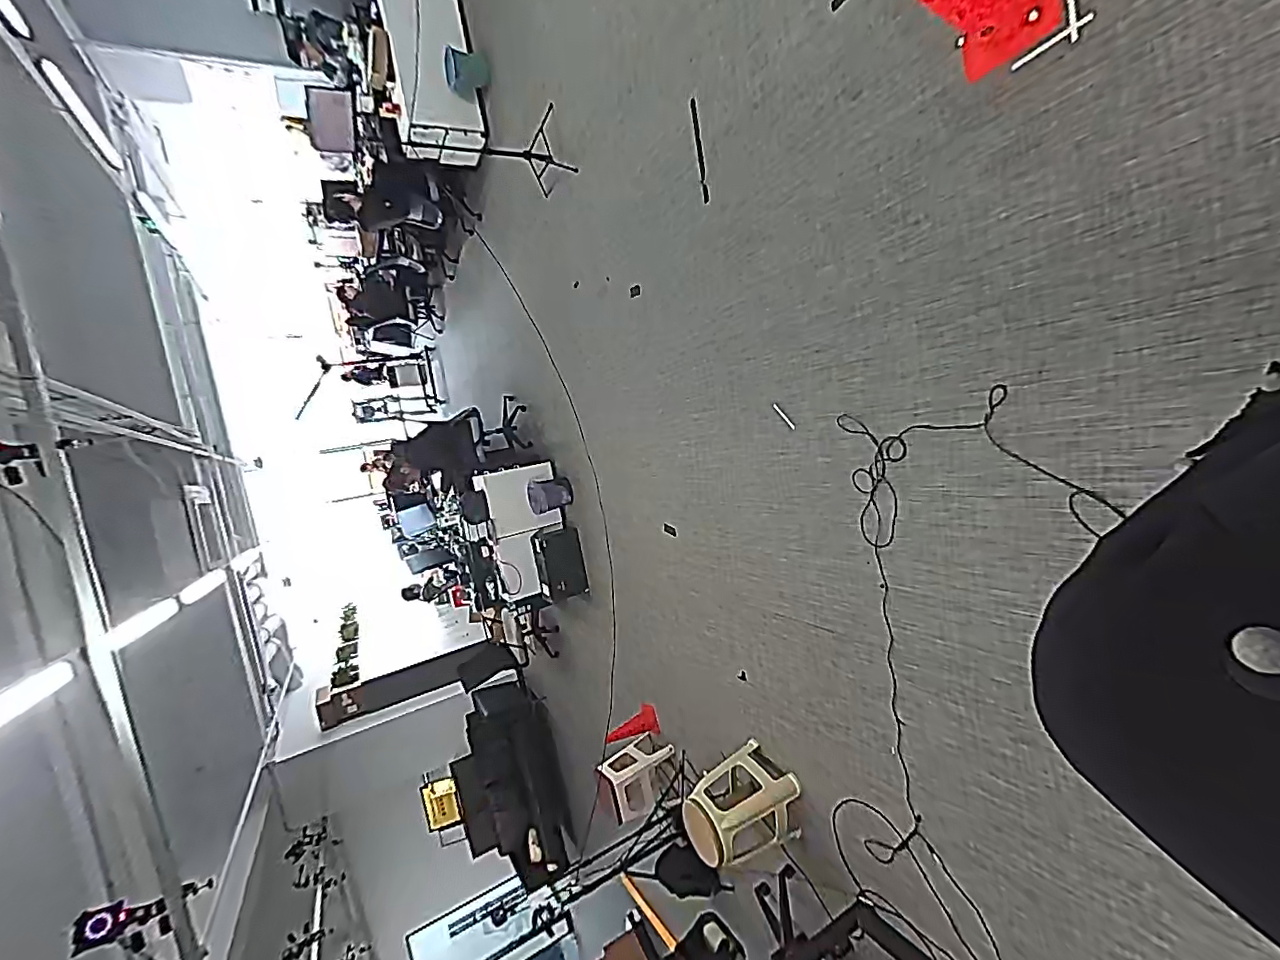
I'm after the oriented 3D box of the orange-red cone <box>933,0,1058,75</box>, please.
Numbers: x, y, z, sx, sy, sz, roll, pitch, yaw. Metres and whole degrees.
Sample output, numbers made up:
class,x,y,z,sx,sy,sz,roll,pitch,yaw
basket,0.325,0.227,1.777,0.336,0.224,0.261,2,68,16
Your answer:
class,x,y,z,sx,sy,sz,roll,pitch,yaw
orange-red cone,0.668,-1.026,1.127,0.198,0.360,0.199,-2,98,61
